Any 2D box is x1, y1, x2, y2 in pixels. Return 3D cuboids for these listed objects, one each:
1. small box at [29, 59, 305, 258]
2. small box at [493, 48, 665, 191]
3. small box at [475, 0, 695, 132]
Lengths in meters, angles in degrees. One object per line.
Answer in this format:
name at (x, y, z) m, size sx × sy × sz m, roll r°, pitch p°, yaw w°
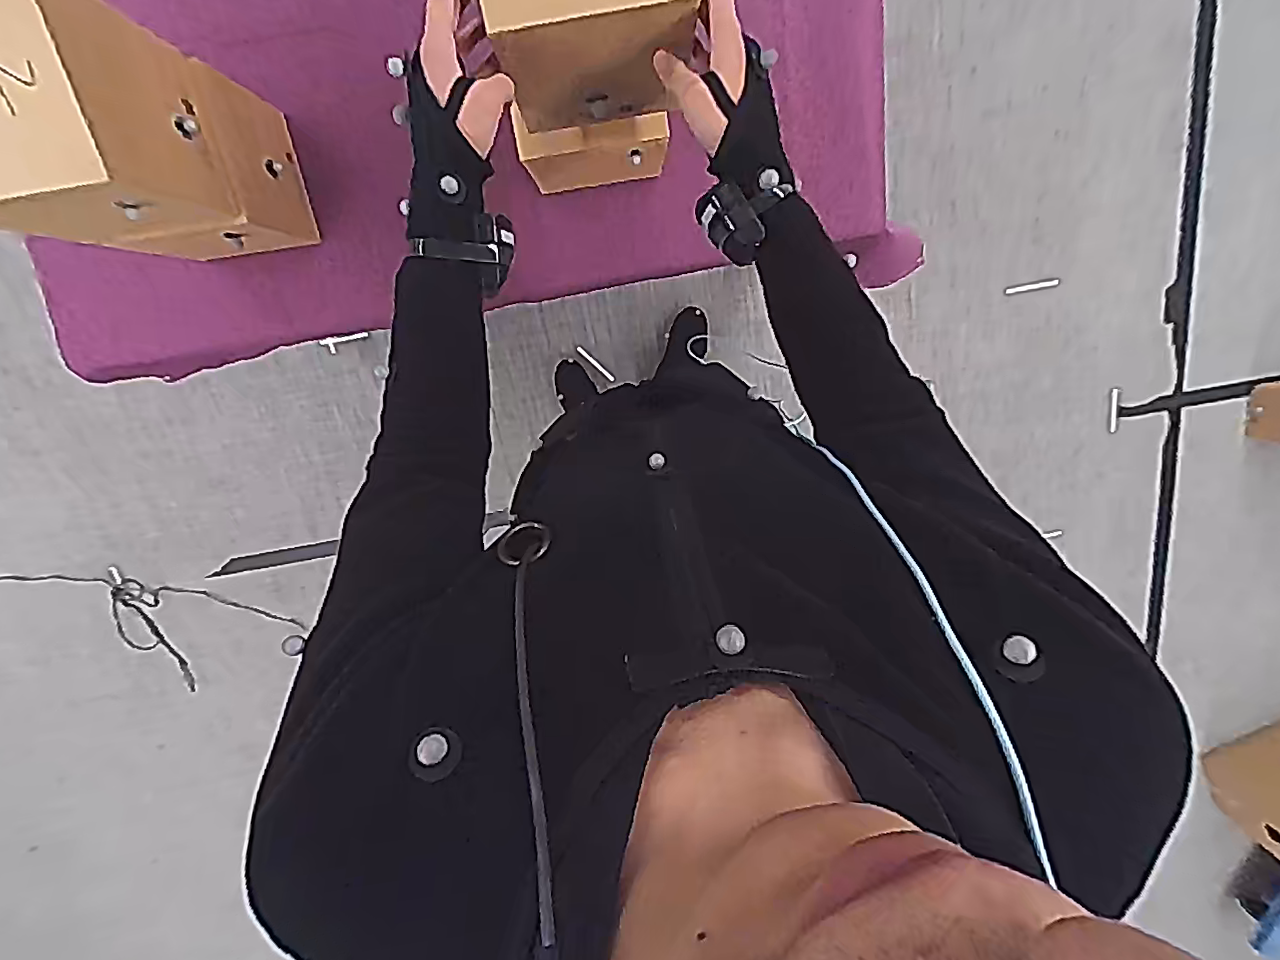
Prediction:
small box at (-0.550, -0.379, 0.667) m, size 0.179 × 0.176 × 0.168 m, roll -9°, pitch 107°, yaw -1°
small box at (-0.071, -0.474, 0.666) m, size 0.179 × 0.176 × 0.168 m, roll -10°, pitch 107°, yaw 0°
small box at (-0.052, -0.440, 0.465) m, size 0.168 × 0.176 × 0.179 m, roll -9°, pitch 101°, yaw 1°
